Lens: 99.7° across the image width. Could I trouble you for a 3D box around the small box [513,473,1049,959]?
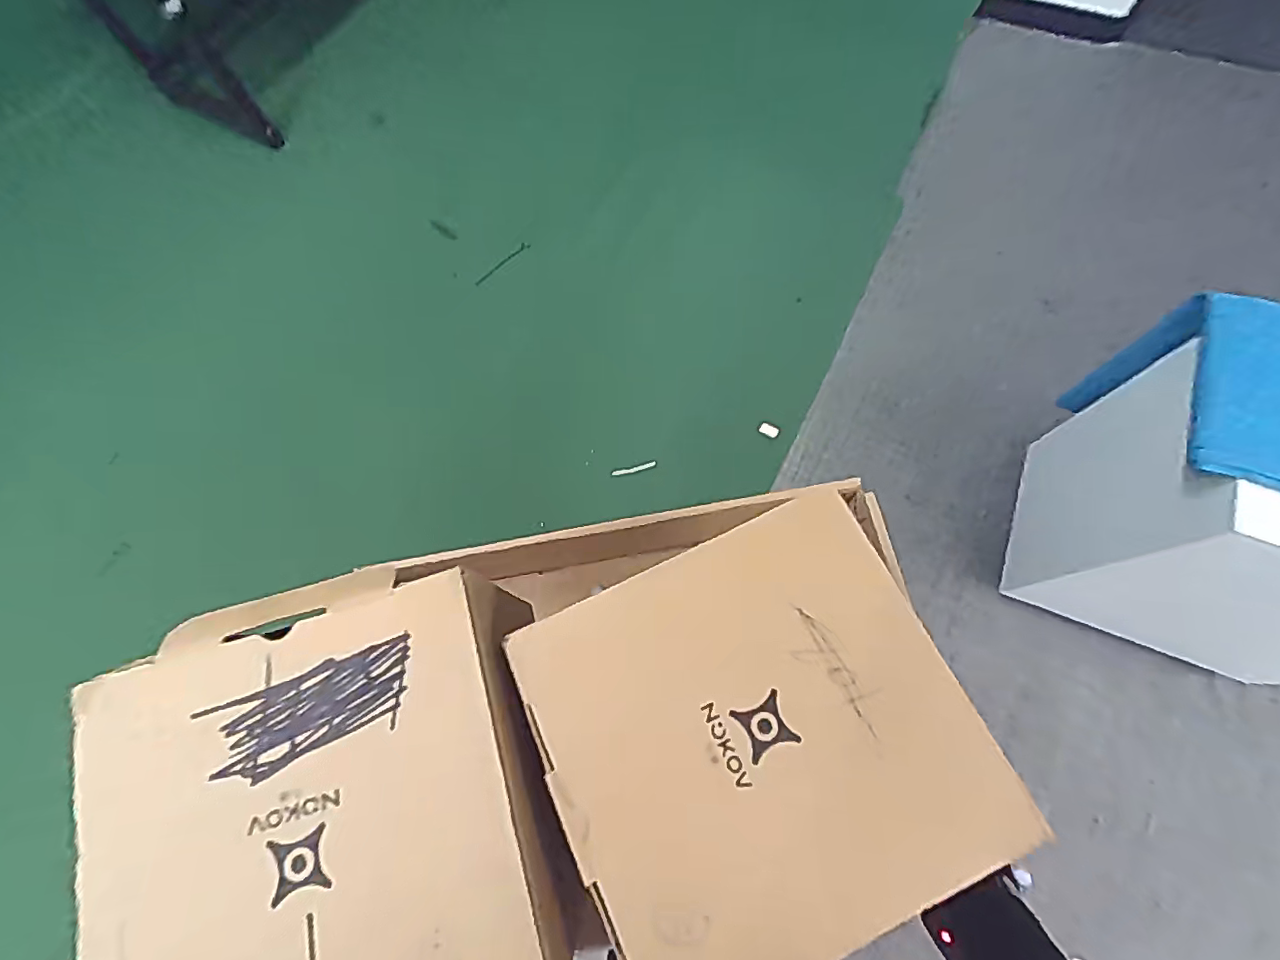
[{"bbox_3d":[0.056,0.125,0.305,0.179,0.176,0.168,-24,72,-5],"label":"small box"}]
